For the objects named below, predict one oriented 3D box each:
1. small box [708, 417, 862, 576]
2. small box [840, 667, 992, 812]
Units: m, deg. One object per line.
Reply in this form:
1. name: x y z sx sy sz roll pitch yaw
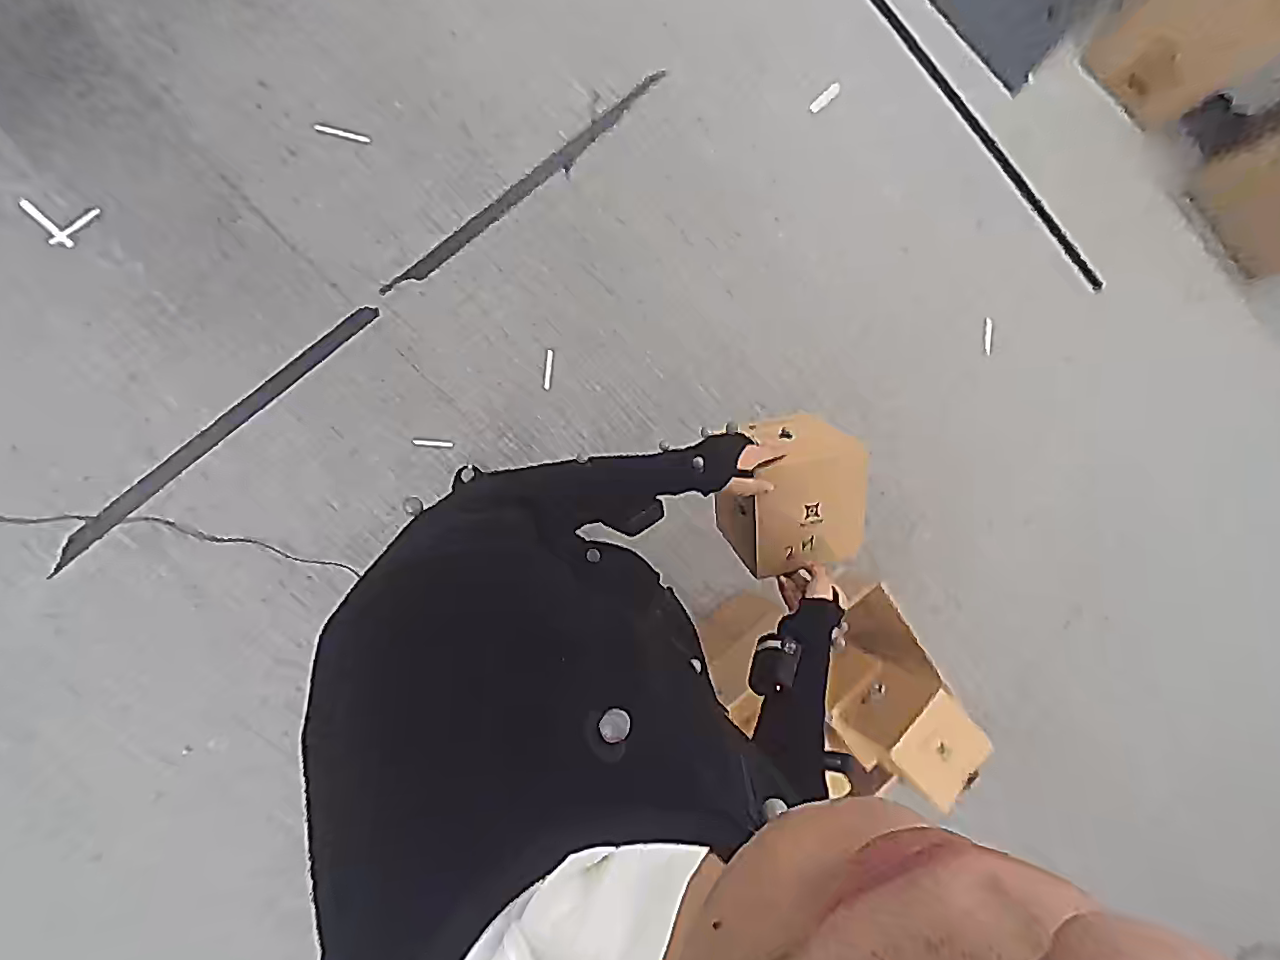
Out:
1. small box: 0.208 0.013 0.810 0.168 0.176 0.179 -12 115 -9
2. small box: 0.553 0.514 1.101 0.168 0.176 0.179 -45 98 -10
